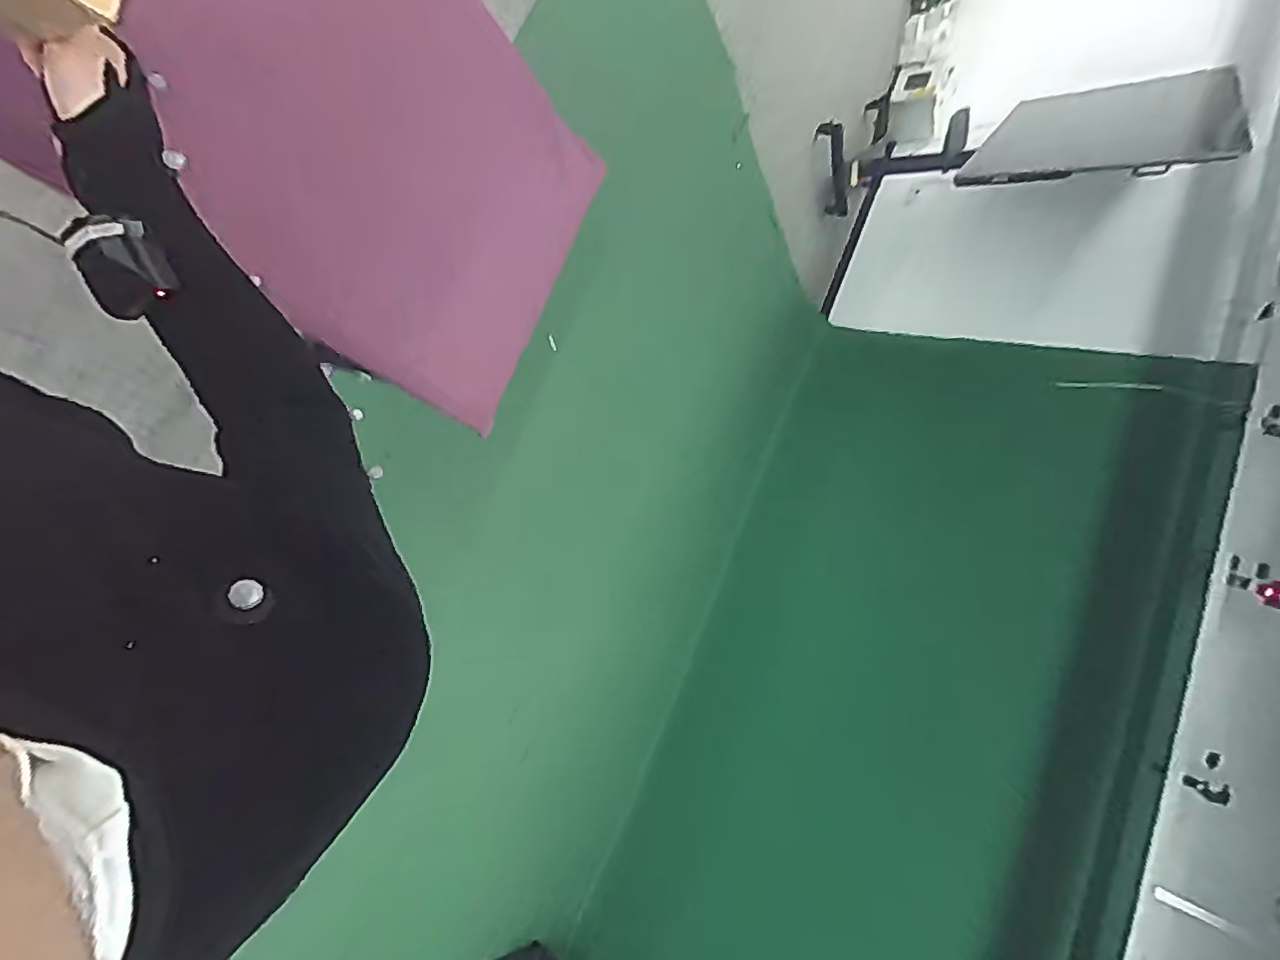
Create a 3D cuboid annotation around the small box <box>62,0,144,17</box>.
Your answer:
[{"bbox_3d":[-0.306,-0.336,0.213,0.179,0.176,0.168,12,106,-56],"label":"small box"}]

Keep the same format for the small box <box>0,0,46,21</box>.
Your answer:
[{"bbox_3d":[-0.543,-0.480,0.386,0.179,0.176,0.168,16,102,-56],"label":"small box"}]
